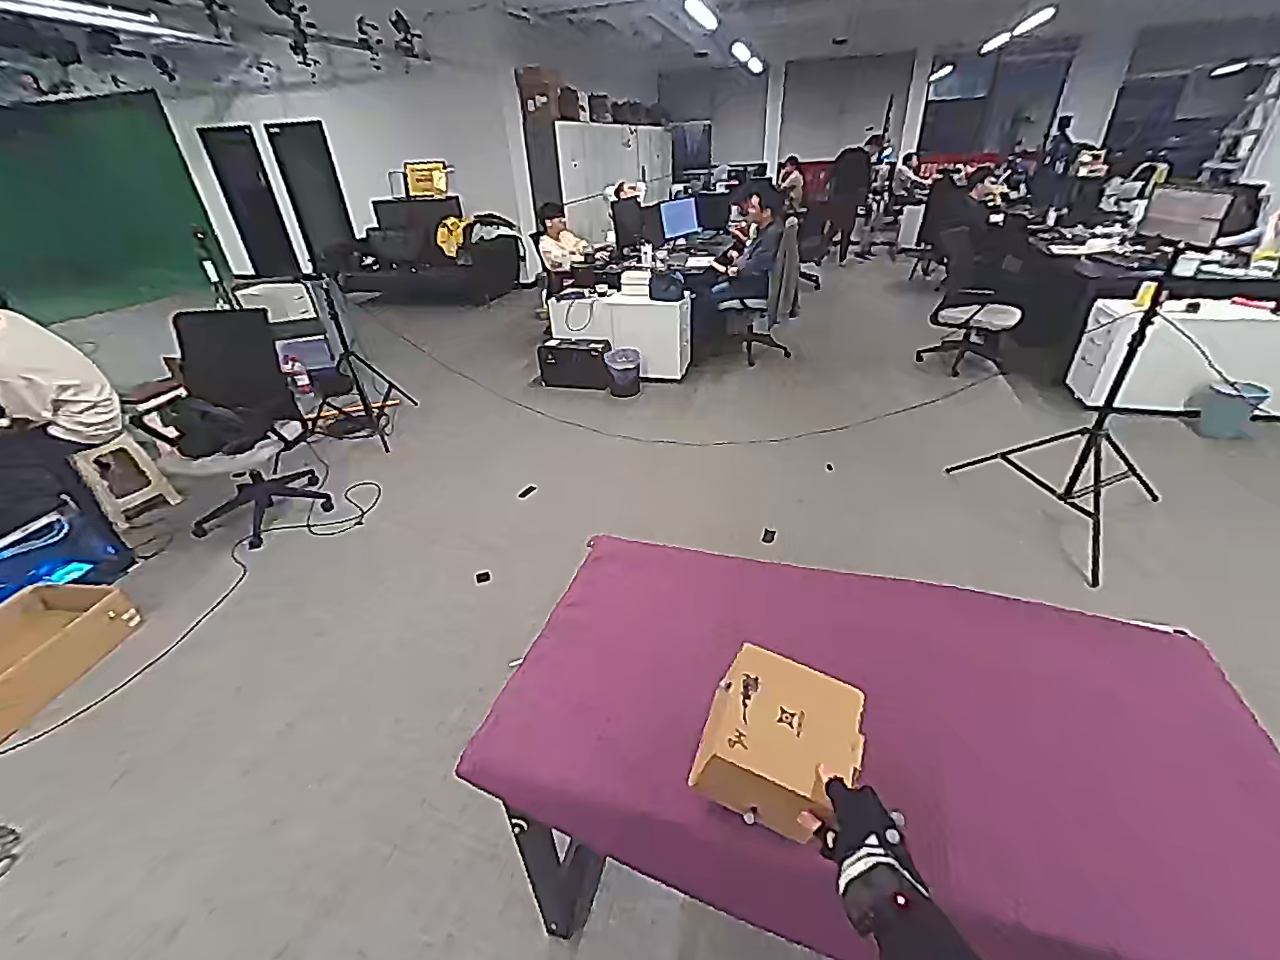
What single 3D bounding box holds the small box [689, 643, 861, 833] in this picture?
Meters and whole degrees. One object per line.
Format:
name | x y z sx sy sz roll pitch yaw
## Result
small box | 0.186 0.368 0.763 0.179 0.176 0.168 21 47 9
